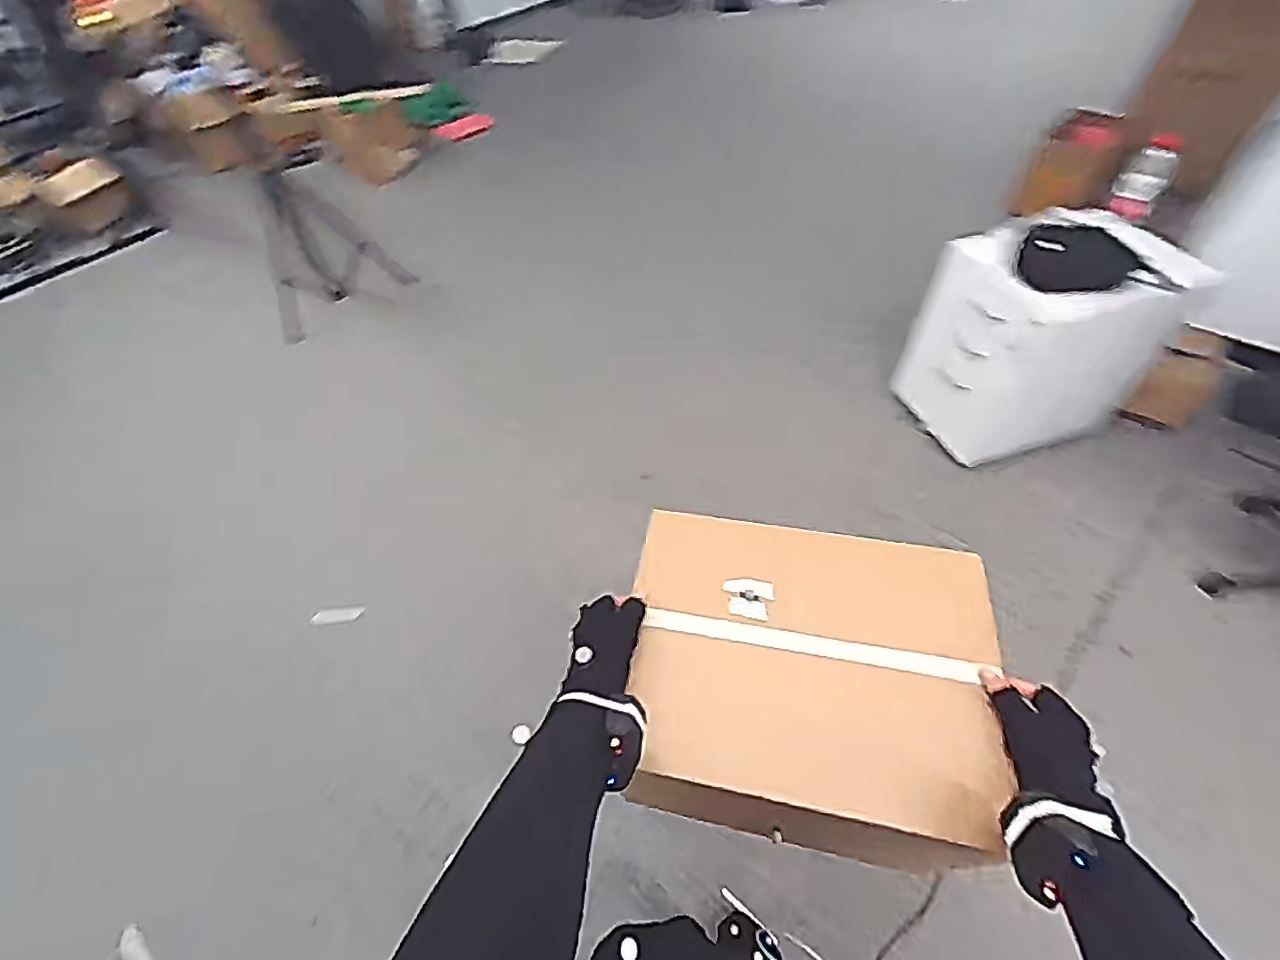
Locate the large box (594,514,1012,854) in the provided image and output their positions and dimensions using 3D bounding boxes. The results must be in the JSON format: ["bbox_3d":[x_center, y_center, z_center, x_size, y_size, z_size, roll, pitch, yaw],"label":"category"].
[{"bbox_3d":[0.189,0.275,0.728,0.408,0.320,0.320,7,52,12],"label":"large box"}]
